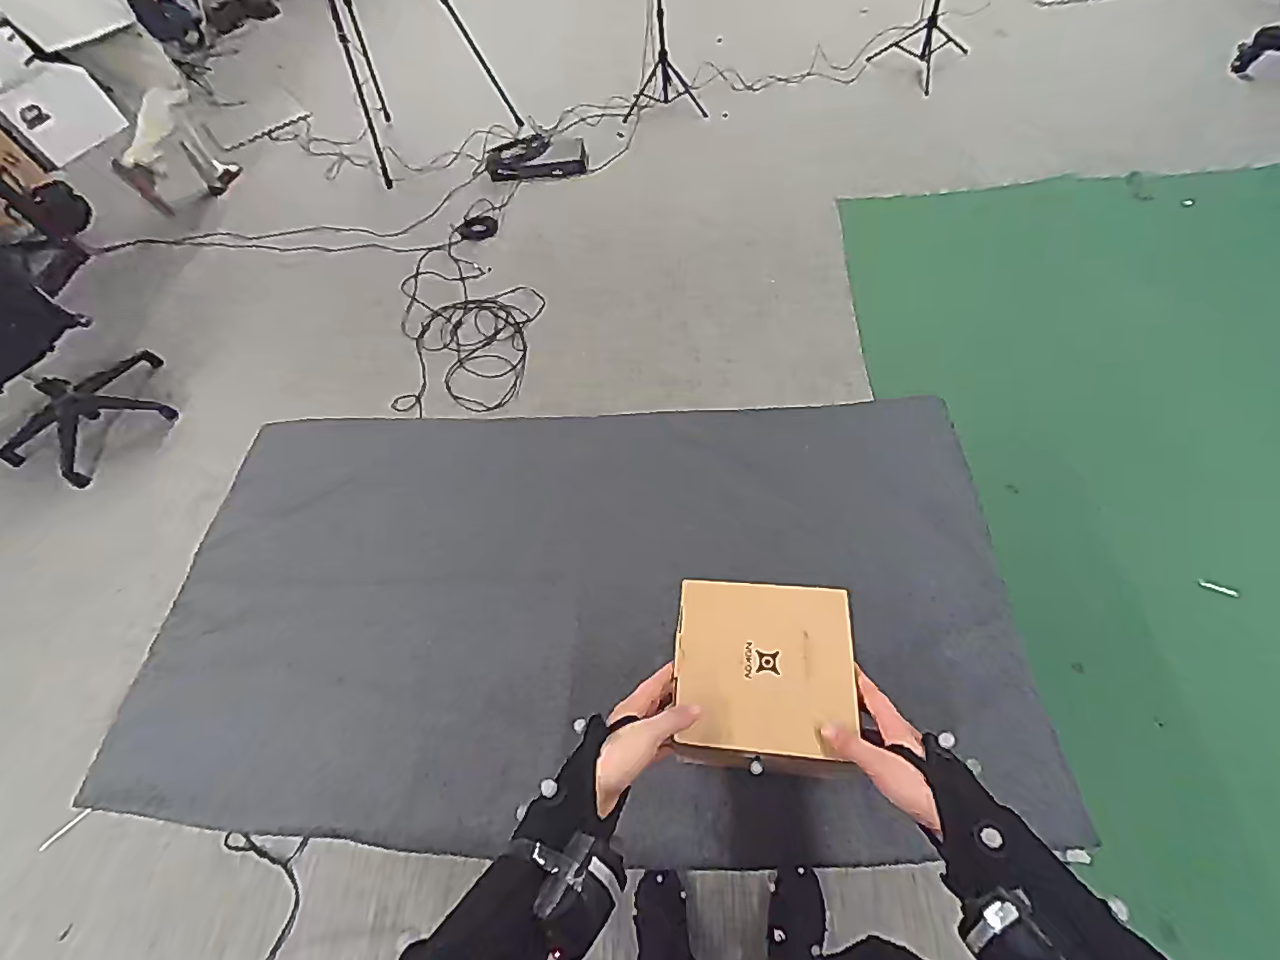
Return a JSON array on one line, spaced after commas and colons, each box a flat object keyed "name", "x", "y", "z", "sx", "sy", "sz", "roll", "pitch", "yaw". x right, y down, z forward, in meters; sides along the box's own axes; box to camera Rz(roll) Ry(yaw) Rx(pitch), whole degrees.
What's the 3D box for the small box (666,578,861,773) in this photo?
[{"name": "small box", "x": 0.127, "y": 0.219, "z": 0.595, "sx": 0.179, "sy": 0.176, "sz": 0.168, "roll": 2, "pitch": 59, "yaw": 8}]
